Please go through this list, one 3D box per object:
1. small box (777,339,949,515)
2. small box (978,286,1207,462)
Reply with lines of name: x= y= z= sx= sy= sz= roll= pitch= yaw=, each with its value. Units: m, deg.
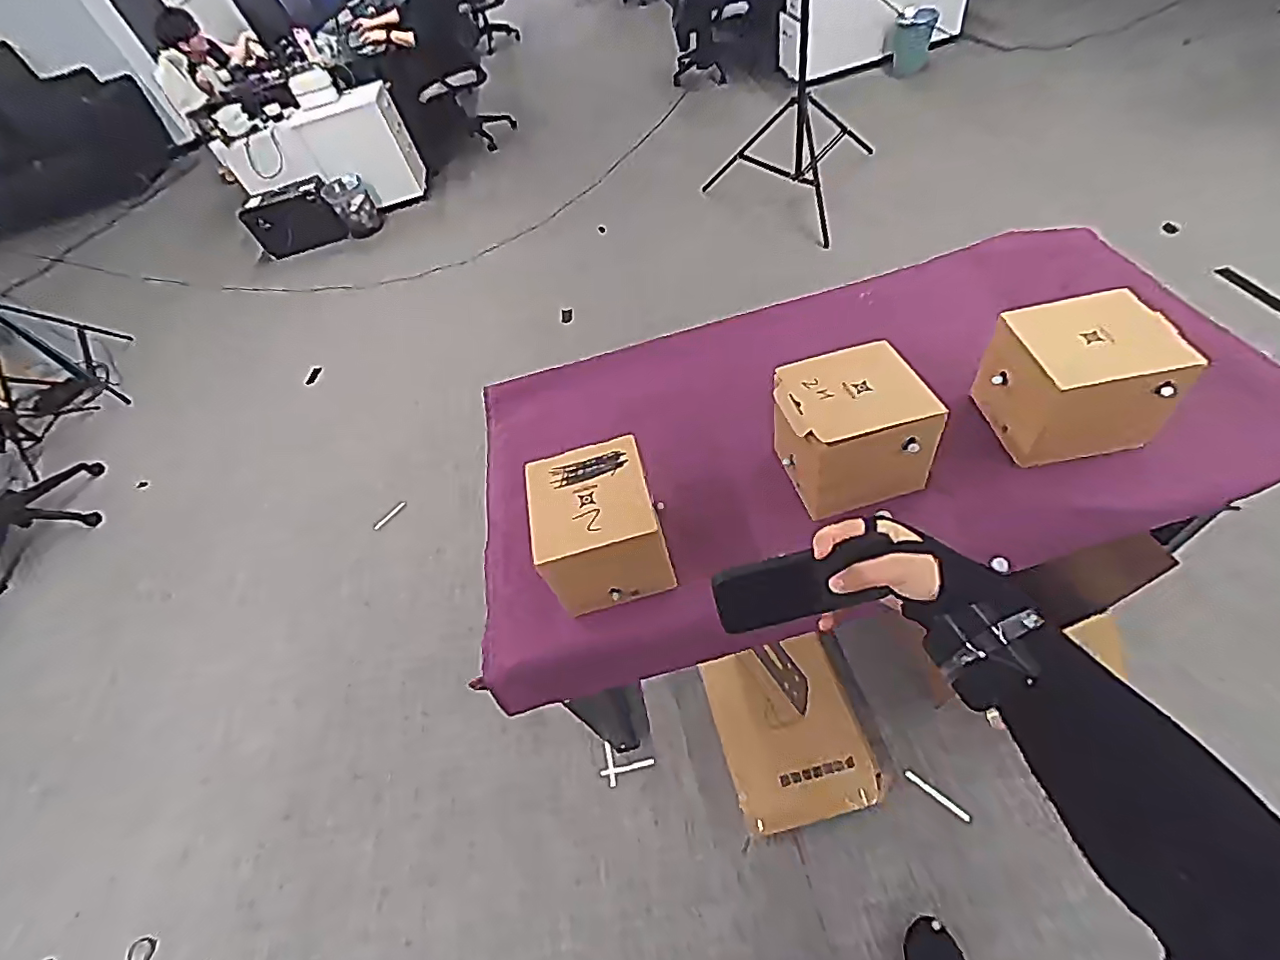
small box: x=0.313 y=-0.074 z=0.803 sx=0.179 sy=0.176 sz=0.168 roll=-17 pitch=49 yaw=1
small box: x=0.622 y=-0.146 z=0.782 sx=0.179 sy=0.176 sz=0.168 roll=-11 pitch=52 yaw=5
